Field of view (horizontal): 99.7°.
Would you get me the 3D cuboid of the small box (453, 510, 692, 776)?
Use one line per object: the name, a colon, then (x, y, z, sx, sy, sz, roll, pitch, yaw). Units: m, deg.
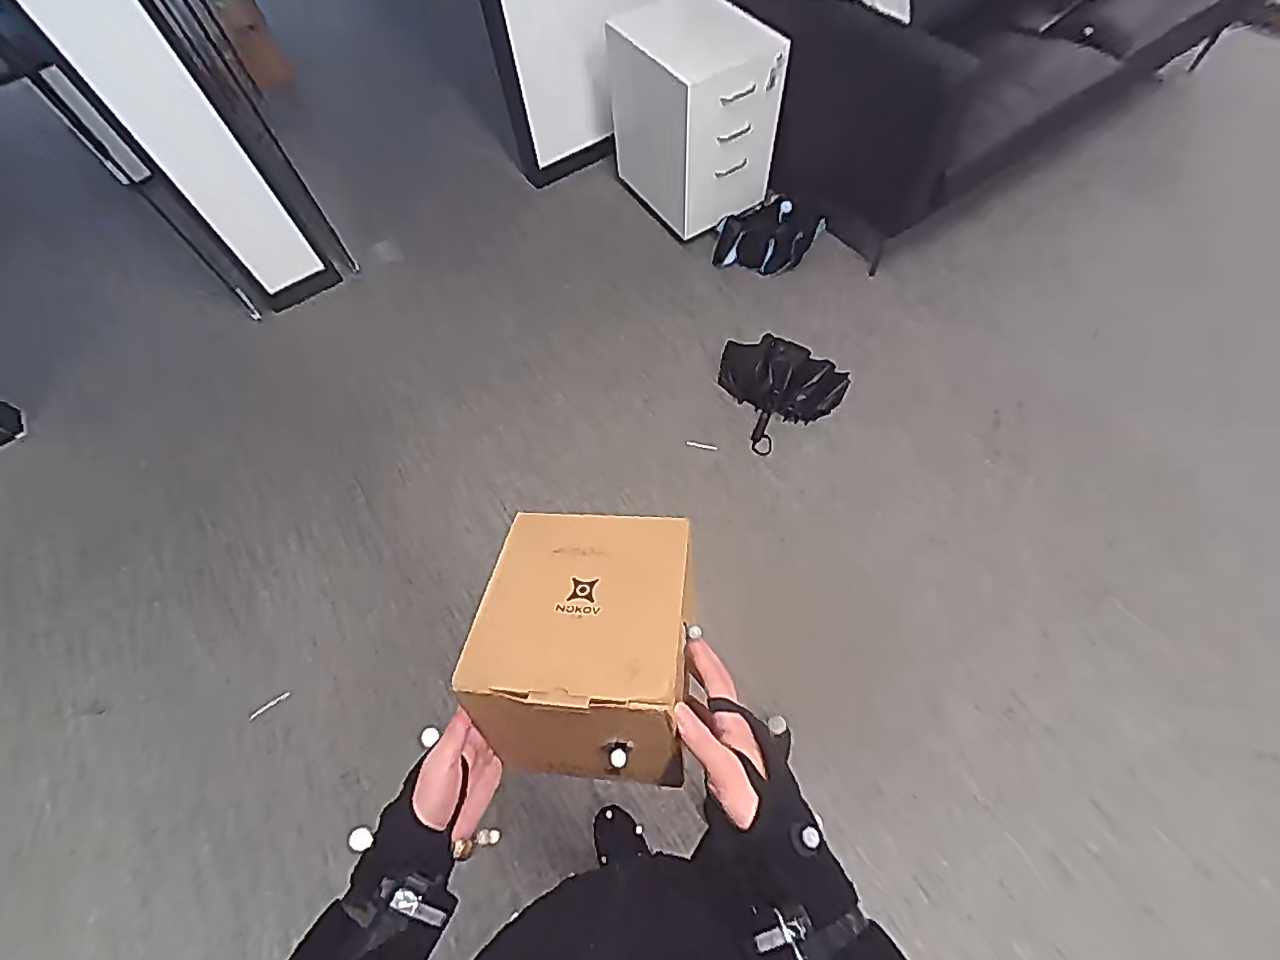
small box: (-0.040, 0.149, 0.496, 0.168, 0.176, 0.179, 2, 43, 8)
